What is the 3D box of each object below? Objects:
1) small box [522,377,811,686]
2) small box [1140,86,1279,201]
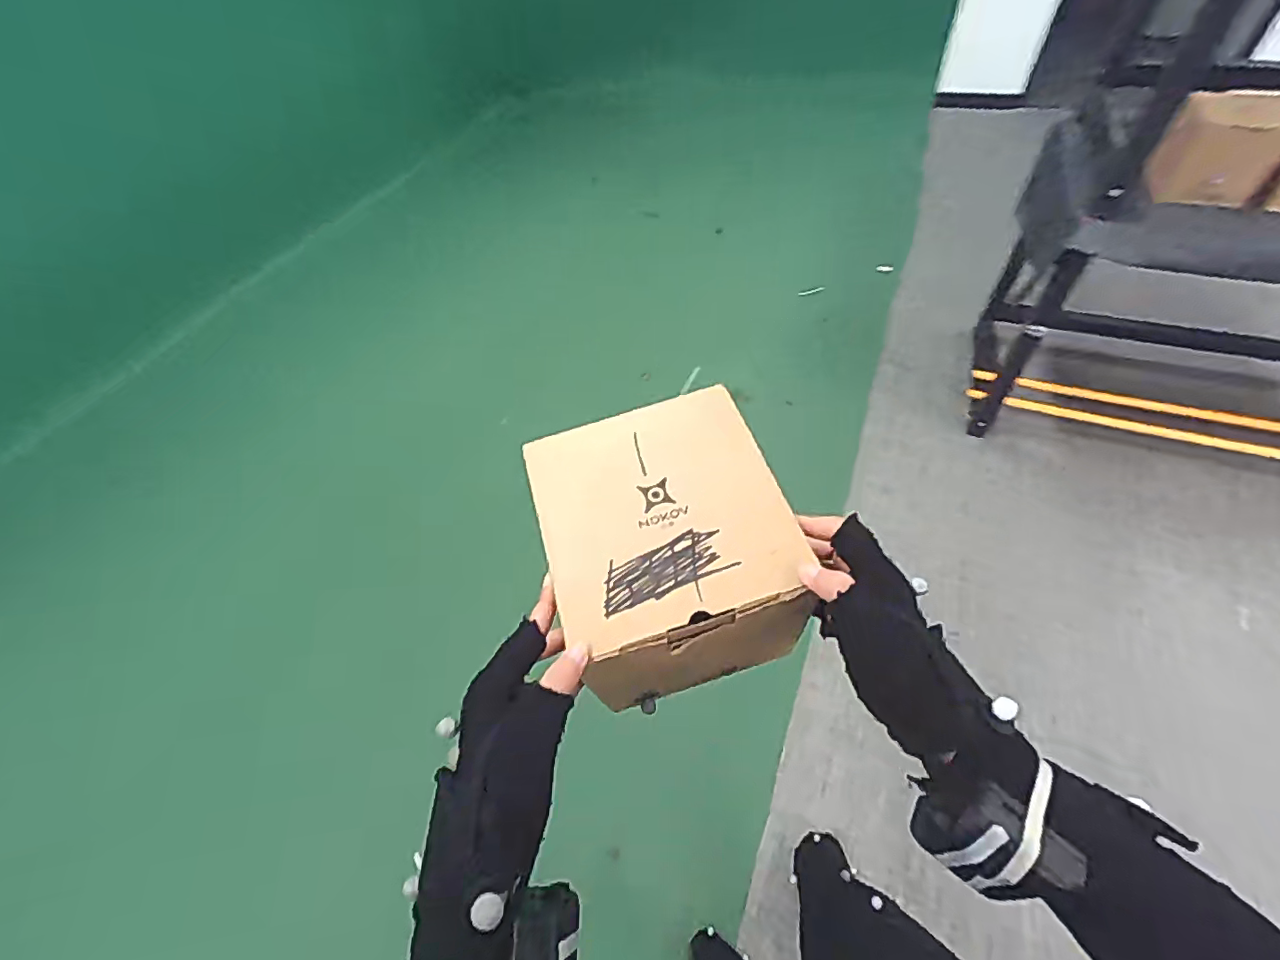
[{"bbox_3d":[0.018,0.053,0.440,0.168,0.176,0.179,-17,57,-3],"label":"small box"},{"bbox_3d":[1.284,-0.762,1.225,0.168,0.176,0.179,15,56,17],"label":"small box"}]
